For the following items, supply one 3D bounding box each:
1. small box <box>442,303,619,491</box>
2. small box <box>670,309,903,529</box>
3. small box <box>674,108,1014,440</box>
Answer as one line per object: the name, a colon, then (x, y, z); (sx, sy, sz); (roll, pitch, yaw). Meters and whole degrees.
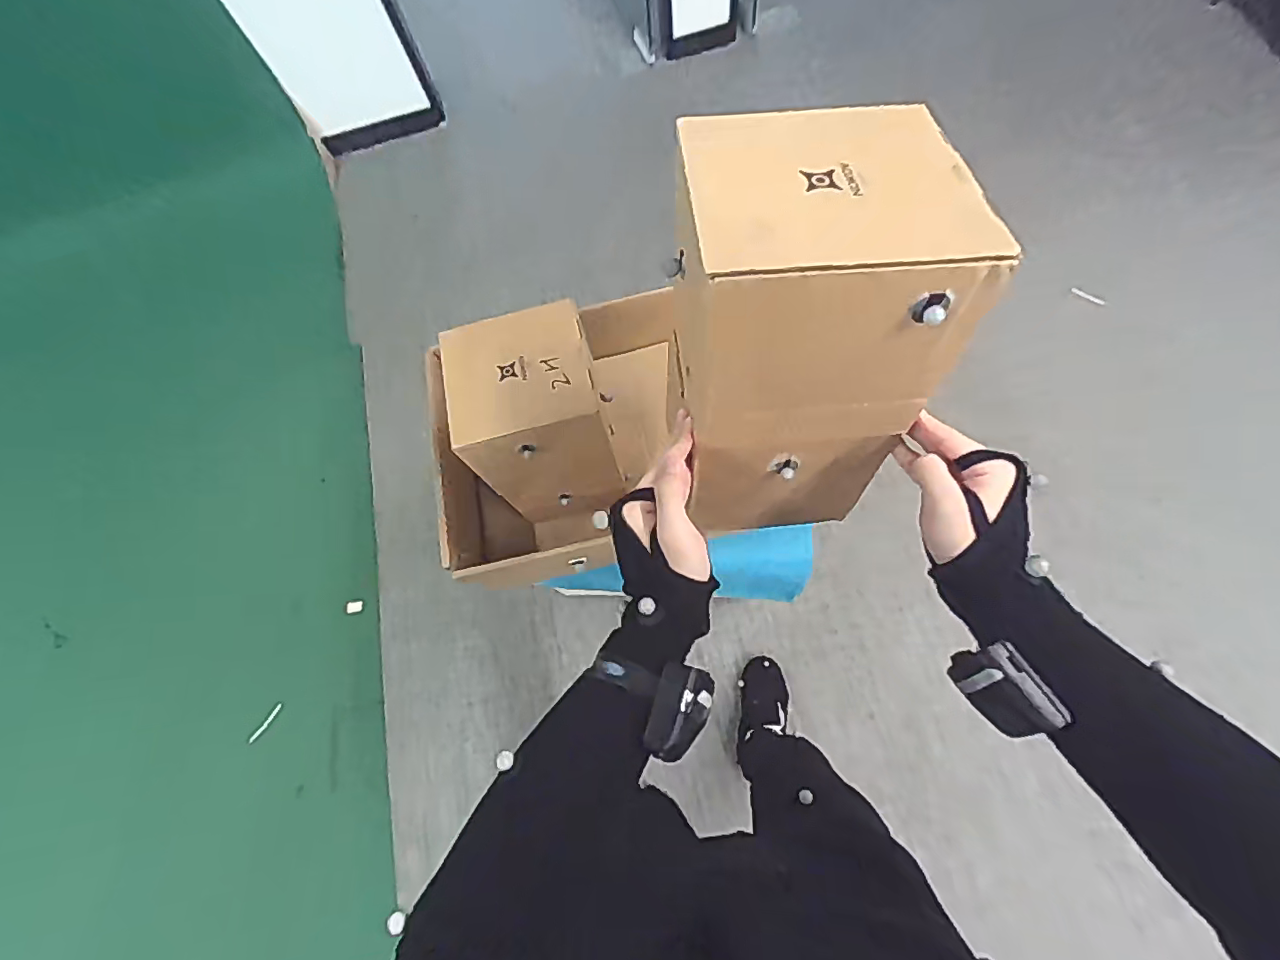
small box: (-0.137, -0.098, 0.714); (0.179, 0.176, 0.168); (-14, 70, 1)
small box: (0.124, -0.061, 0.544); (0.179, 0.176, 0.168); (-5, 58, -2)
small box: (0.118, -0.143, 0.405); (0.179, 0.176, 0.168); (-4, 59, -1)
